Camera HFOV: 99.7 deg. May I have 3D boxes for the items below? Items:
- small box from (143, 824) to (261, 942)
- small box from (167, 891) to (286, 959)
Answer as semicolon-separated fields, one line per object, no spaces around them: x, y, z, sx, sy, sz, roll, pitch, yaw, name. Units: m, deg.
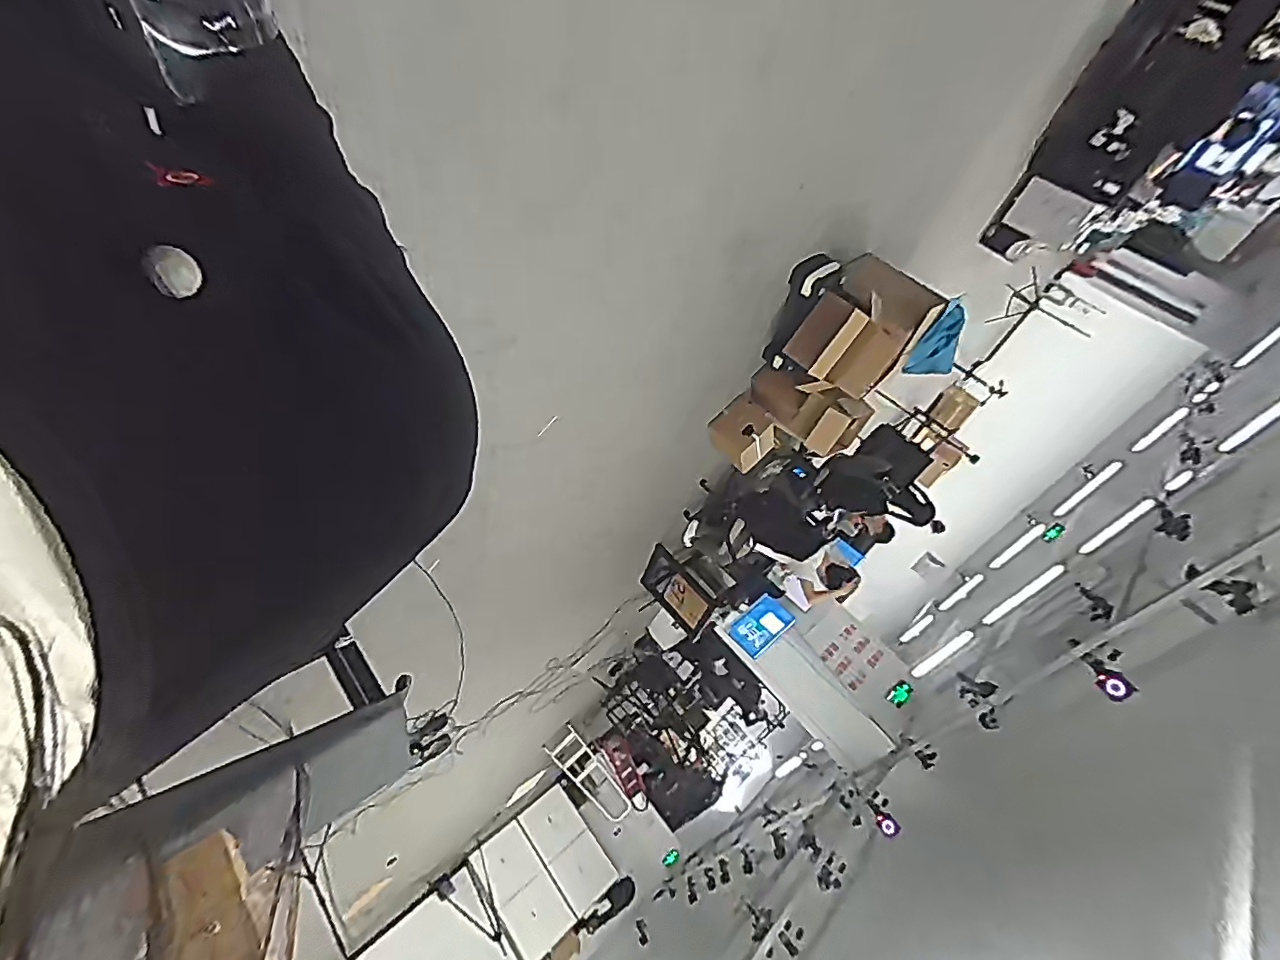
-1.105;1.019;1.370;0.179;0.176;0.168;-25;149;-38;small box
-0.991;1.139;1.303;0.168;0.176;0.179;-28;150;-37;small box
